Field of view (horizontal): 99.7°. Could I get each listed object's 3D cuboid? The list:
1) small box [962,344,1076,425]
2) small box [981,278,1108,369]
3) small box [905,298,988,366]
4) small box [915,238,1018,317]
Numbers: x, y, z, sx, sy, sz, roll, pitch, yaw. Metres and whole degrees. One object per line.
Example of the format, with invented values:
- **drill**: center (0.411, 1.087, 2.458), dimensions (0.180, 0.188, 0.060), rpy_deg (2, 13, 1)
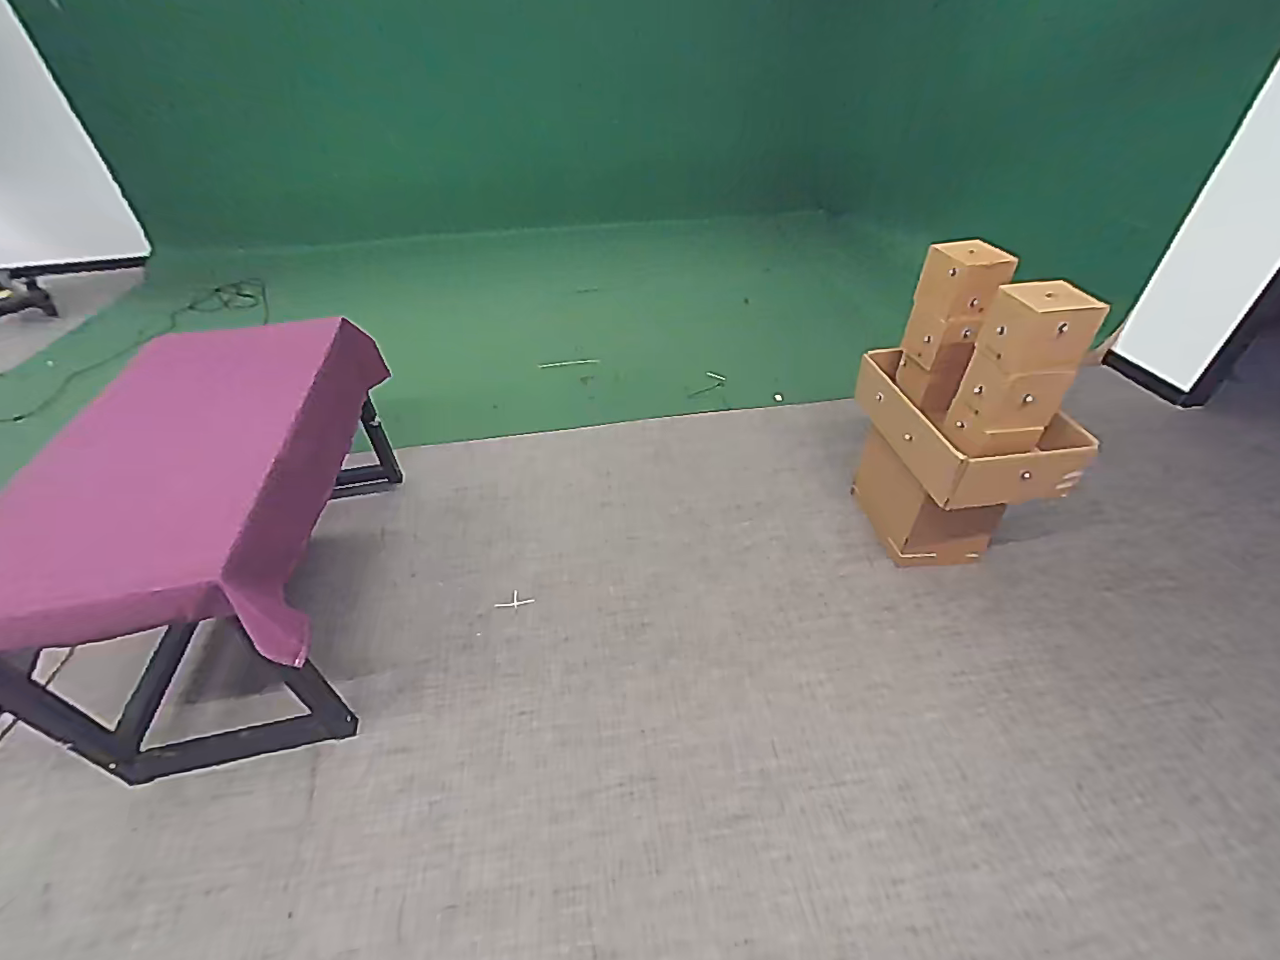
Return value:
- **small box**: center (1.006, -0.261, 1.462), dimensions (0.179, 0.176, 0.168), rpy_deg (-5, 42, -2)
- **small box**: center (0.997, -0.389, 1.358), dimensions (0.179, 0.176, 0.168), rpy_deg (-4, 42, -3)
- **small box**: center (0.967, -0.472, 1.706), dimensions (0.179, 0.176, 0.168), rpy_deg (-9, 42, -7)
- **small box**: center (0.959, -0.603, 1.609), dimensions (0.168, 0.176, 0.179), rpy_deg (-10, 43, -8)
